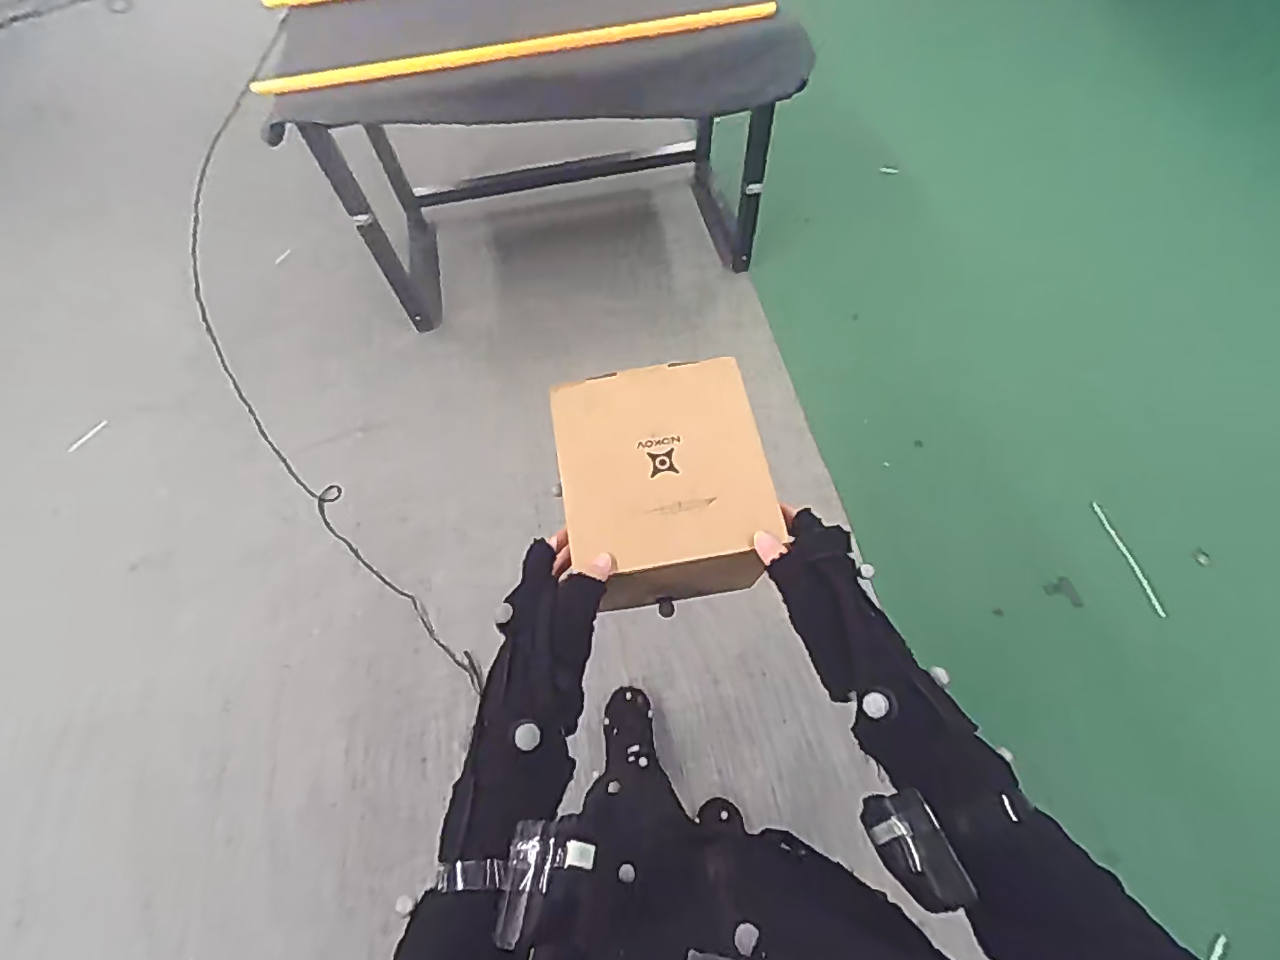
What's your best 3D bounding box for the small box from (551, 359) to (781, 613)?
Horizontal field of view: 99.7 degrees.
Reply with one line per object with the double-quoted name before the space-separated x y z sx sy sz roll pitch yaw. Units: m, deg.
"small box" 0.015 0.014 0.514 0.168 0.176 0.179 -10 67 -3
